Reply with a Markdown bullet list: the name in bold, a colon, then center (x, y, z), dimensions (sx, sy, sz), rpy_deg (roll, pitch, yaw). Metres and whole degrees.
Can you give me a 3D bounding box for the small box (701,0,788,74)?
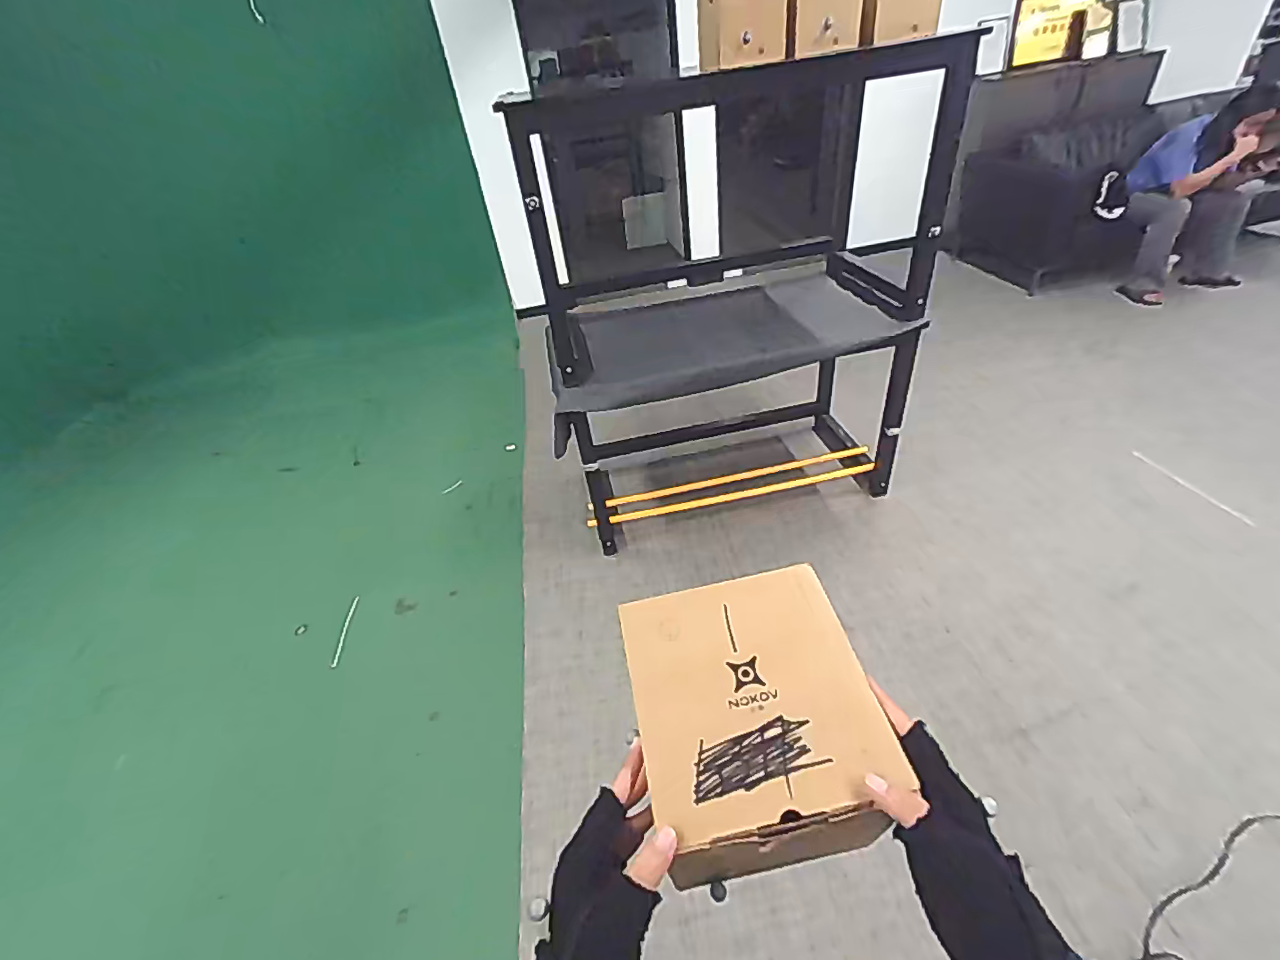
- **small box**: center (0.247, -1.100, 1.315), dimensions (0.168, 0.176, 0.179), rpy_deg (-12, 38, -5)
